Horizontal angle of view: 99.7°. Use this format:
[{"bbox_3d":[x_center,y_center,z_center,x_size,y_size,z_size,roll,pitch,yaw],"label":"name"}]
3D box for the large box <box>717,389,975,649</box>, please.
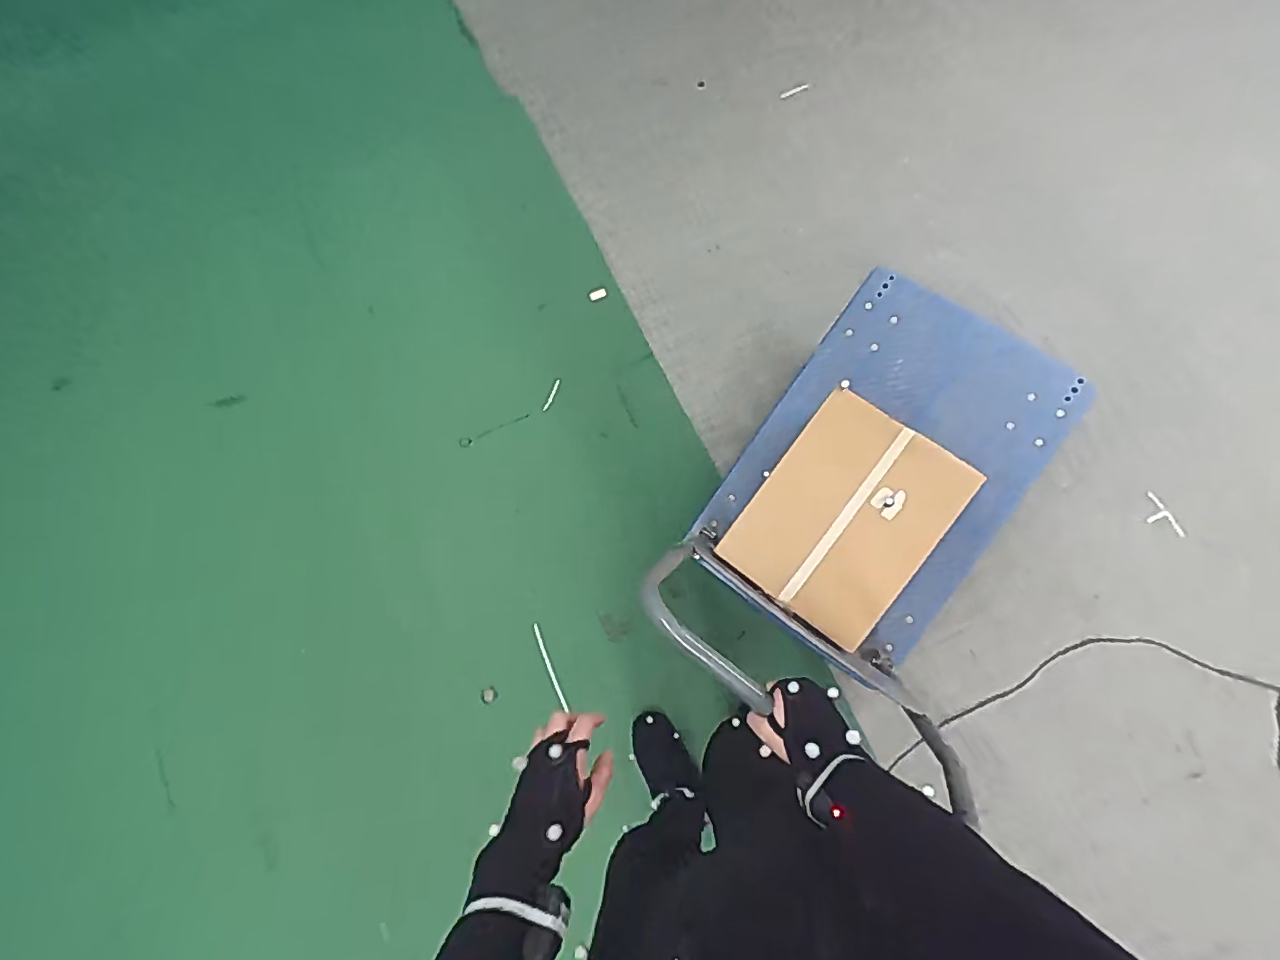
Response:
[{"bbox_3d":[0.408,0.088,1.165,0.320,0.320,0.408,37,90,12],"label":"large box"}]
